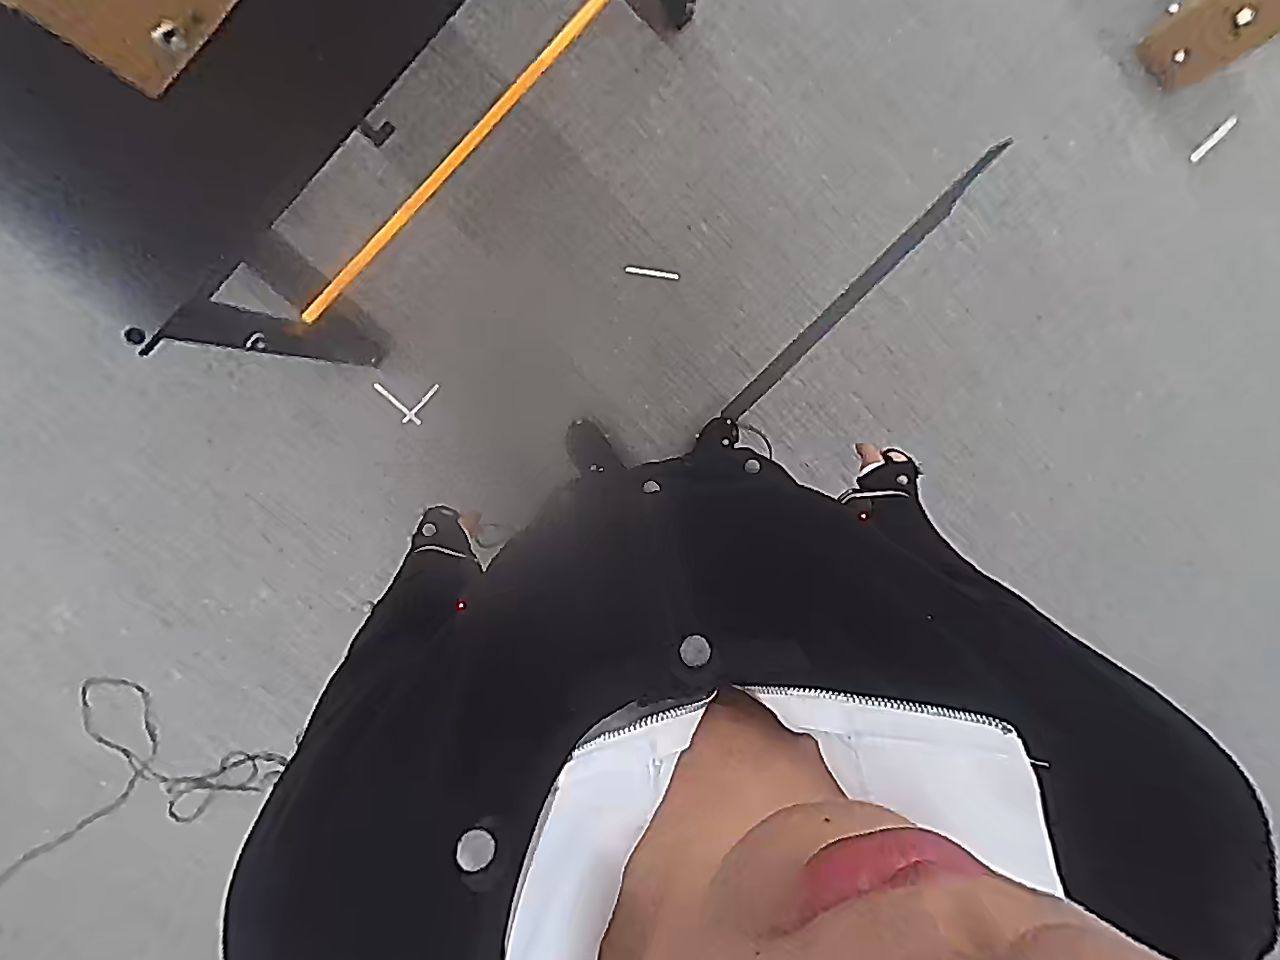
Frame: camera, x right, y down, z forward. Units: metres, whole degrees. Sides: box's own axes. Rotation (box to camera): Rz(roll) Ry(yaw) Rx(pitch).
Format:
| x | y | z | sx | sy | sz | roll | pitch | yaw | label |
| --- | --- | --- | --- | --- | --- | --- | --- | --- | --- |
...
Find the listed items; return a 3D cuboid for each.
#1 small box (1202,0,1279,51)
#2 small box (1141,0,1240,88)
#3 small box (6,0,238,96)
| x | y | z | sx | sy | sz | roll | pitch | yaw | label |
| --- | --- | --- | --- | --- | --- | --- | --- | --- | --- |
| 1.397 | -1.096 | 1.163 | 0.179 | 0.176 | 0.168 | -44 | 98 | 4 | small box |
| 1.395 | -1.124 | 1.326 | 0.168 | 0.176 | 0.179 | 44 | 95 | -8 | small box |
| -0.589 | -0.561 | 0.564 | 0.179 | 0.176 | 0.168 | 41 | 95 | -8 | small box |
